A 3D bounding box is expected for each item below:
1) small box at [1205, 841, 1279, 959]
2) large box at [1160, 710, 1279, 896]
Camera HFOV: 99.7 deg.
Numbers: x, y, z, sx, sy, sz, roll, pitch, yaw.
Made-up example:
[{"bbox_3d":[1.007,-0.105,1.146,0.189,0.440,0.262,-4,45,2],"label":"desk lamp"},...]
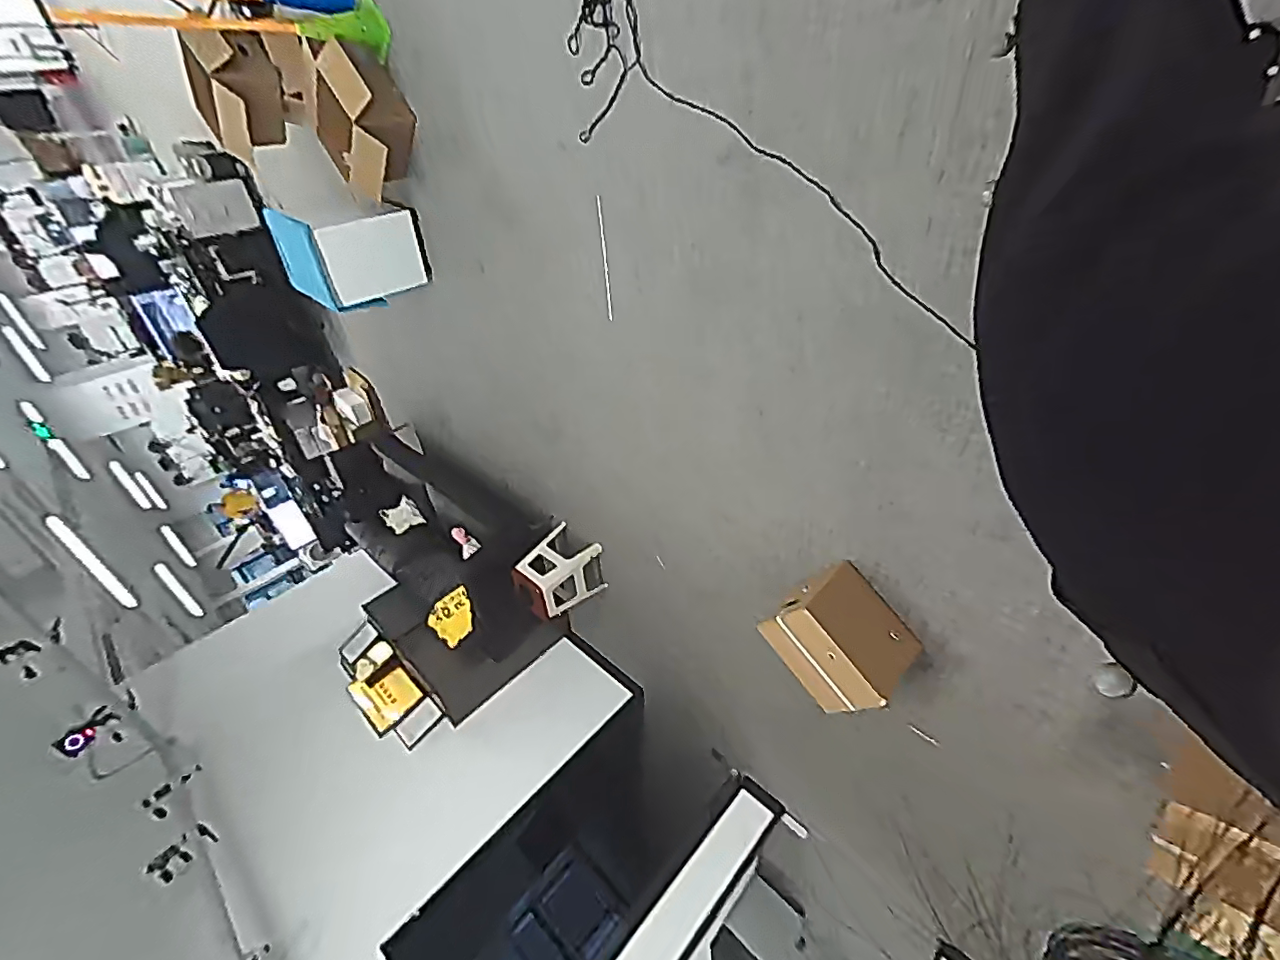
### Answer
[{"bbox_3d":[1.326,0.906,1.123,0.168,0.176,0.179,21,132,42],"label":"small box"},{"bbox_3d":[1.521,0.822,1.257,0.408,0.320,0.320,13,129,44],"label":"large box"}]
